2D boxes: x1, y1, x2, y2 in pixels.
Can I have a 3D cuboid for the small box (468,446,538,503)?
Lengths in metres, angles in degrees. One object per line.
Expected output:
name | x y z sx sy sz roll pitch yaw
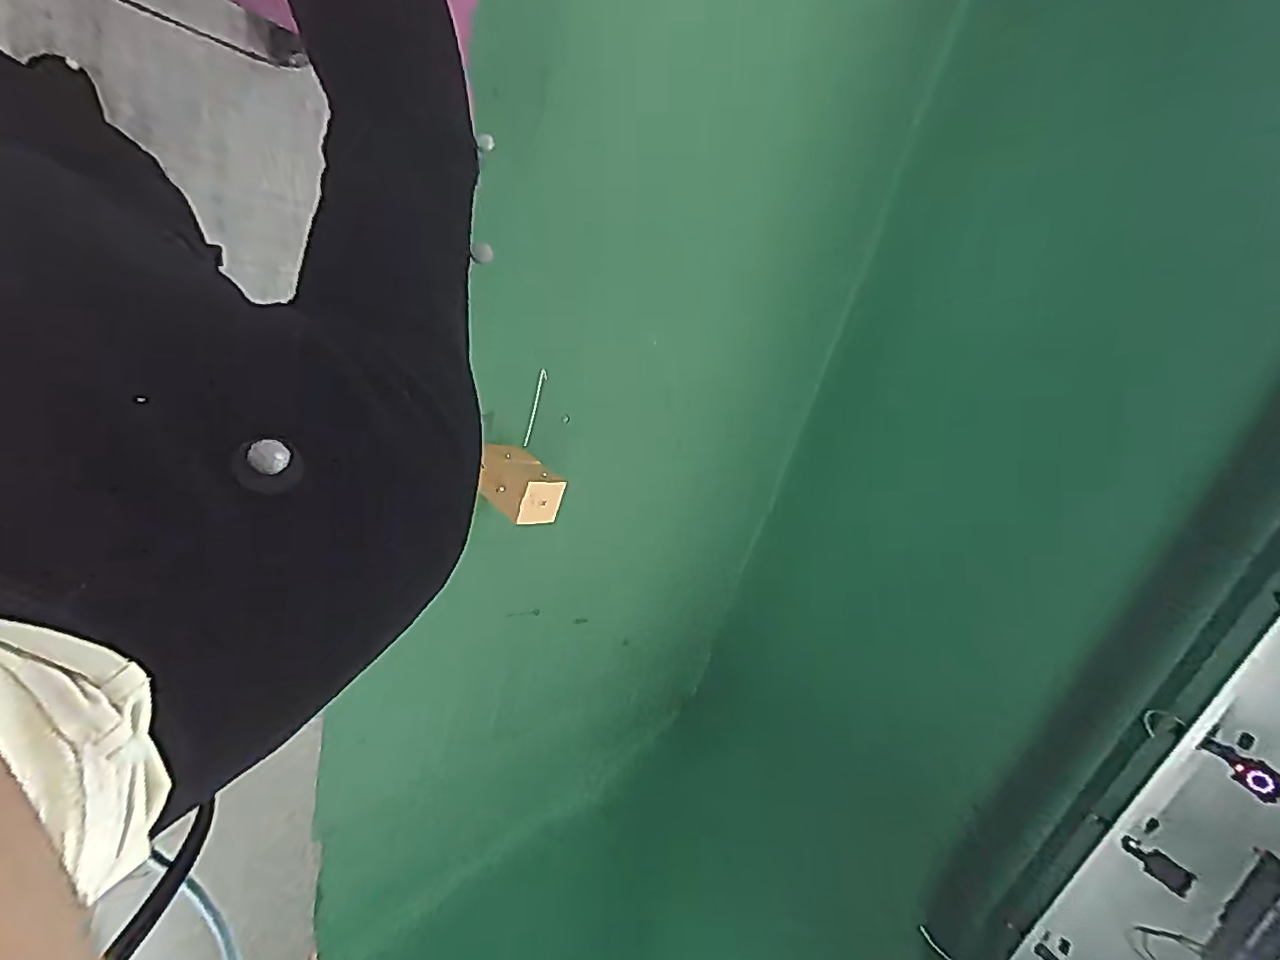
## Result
small box | -0.520 -0.023 2.049 0.179 0.176 0.168 -1 116 -50

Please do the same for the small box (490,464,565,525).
small box | -0.409 0.049 1.952 0.179 0.176 0.168 2 113 -50
